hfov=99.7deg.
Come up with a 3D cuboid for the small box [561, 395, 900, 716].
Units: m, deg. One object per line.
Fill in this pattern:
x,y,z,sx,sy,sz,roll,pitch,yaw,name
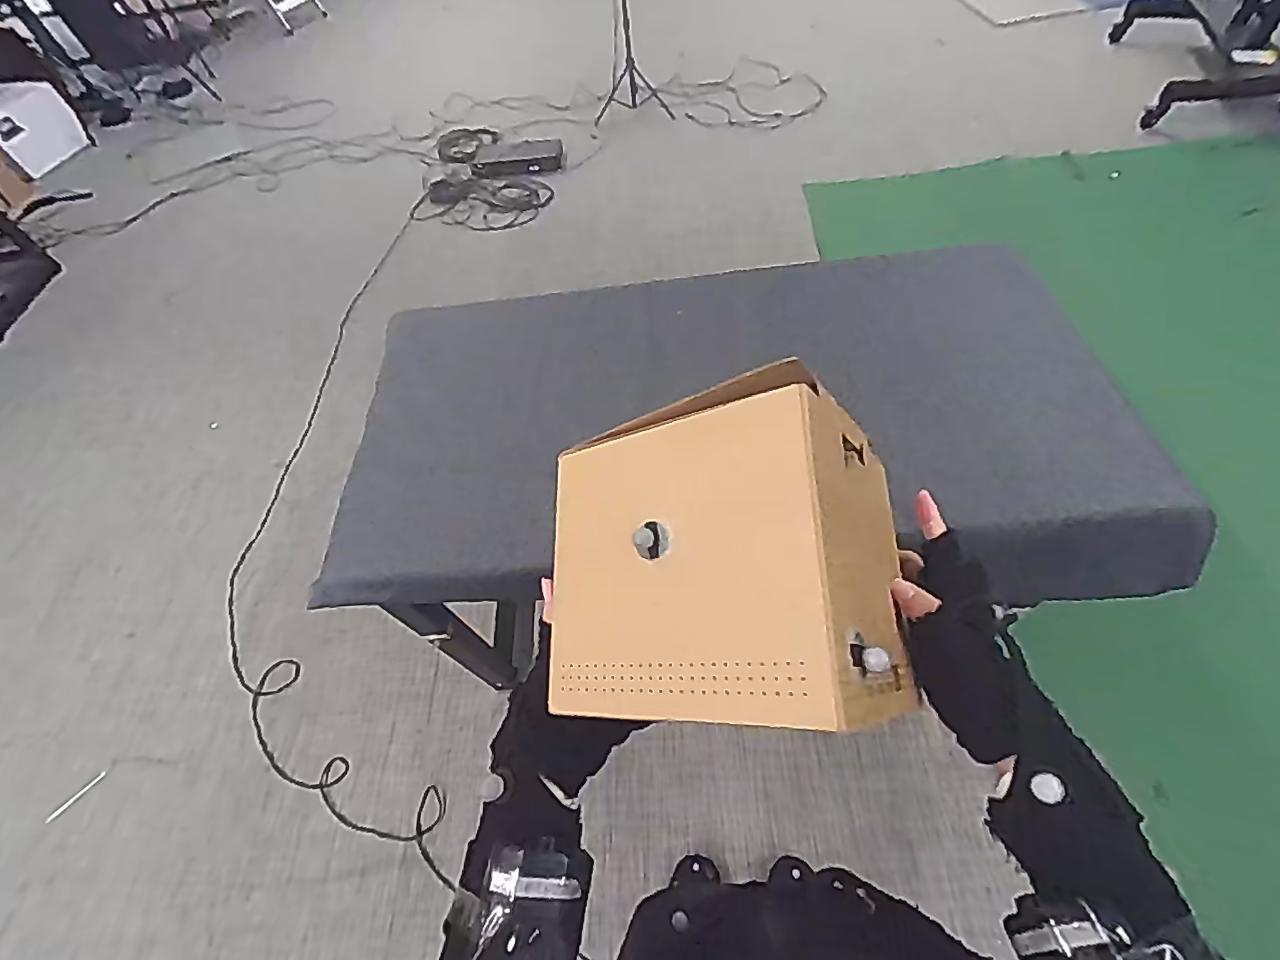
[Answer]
0.063,0.067,0.377,0.179,0.168,0.176,-15,65,35,small box
